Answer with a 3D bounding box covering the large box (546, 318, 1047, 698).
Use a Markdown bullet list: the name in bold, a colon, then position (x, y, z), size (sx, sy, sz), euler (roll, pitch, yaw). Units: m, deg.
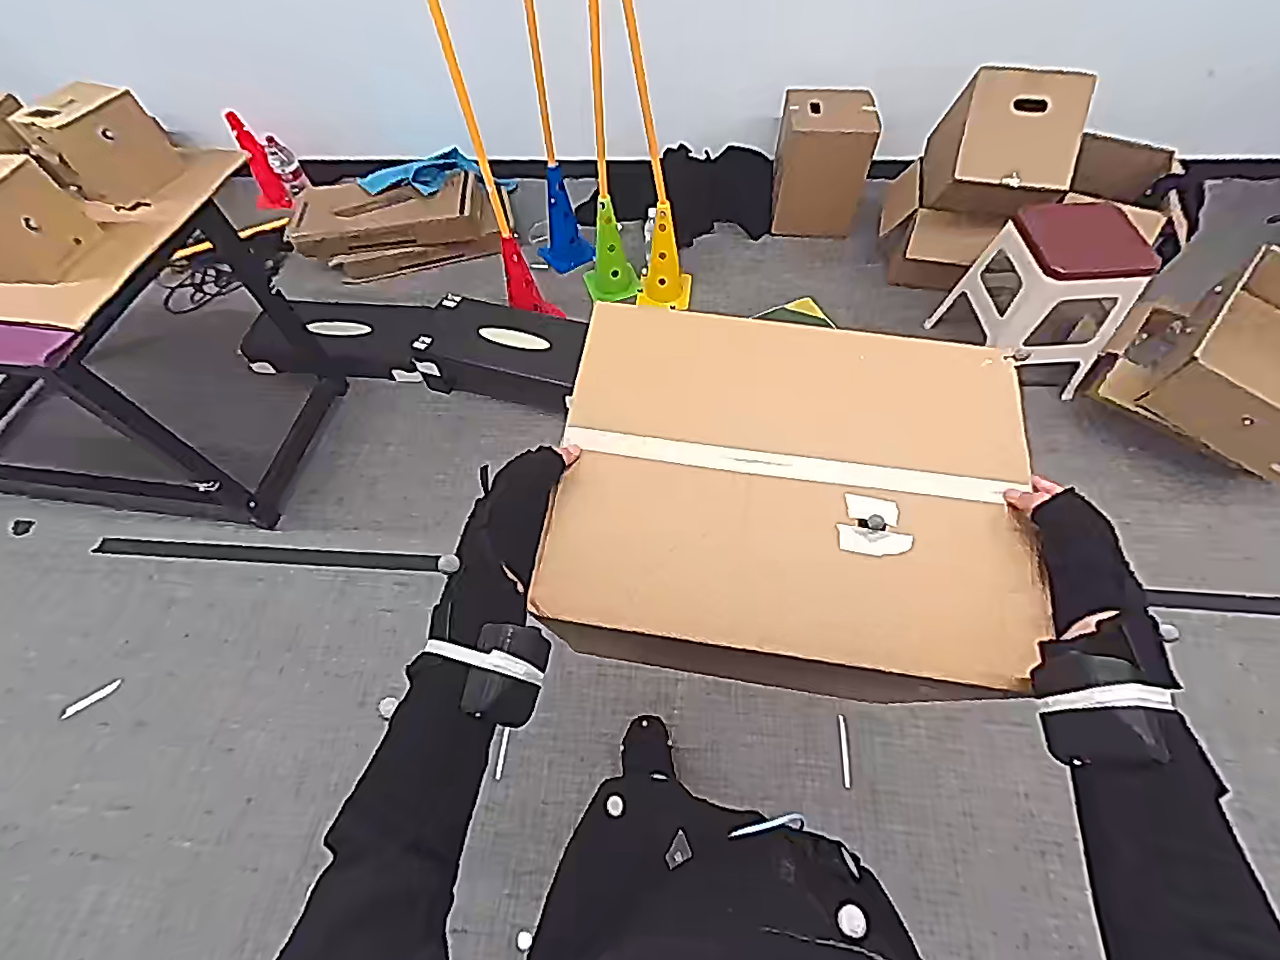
- **large box**: position (0.136, 0.056, 0.617), size (0.408, 0.320, 0.320), euler (8, 68, 3)
